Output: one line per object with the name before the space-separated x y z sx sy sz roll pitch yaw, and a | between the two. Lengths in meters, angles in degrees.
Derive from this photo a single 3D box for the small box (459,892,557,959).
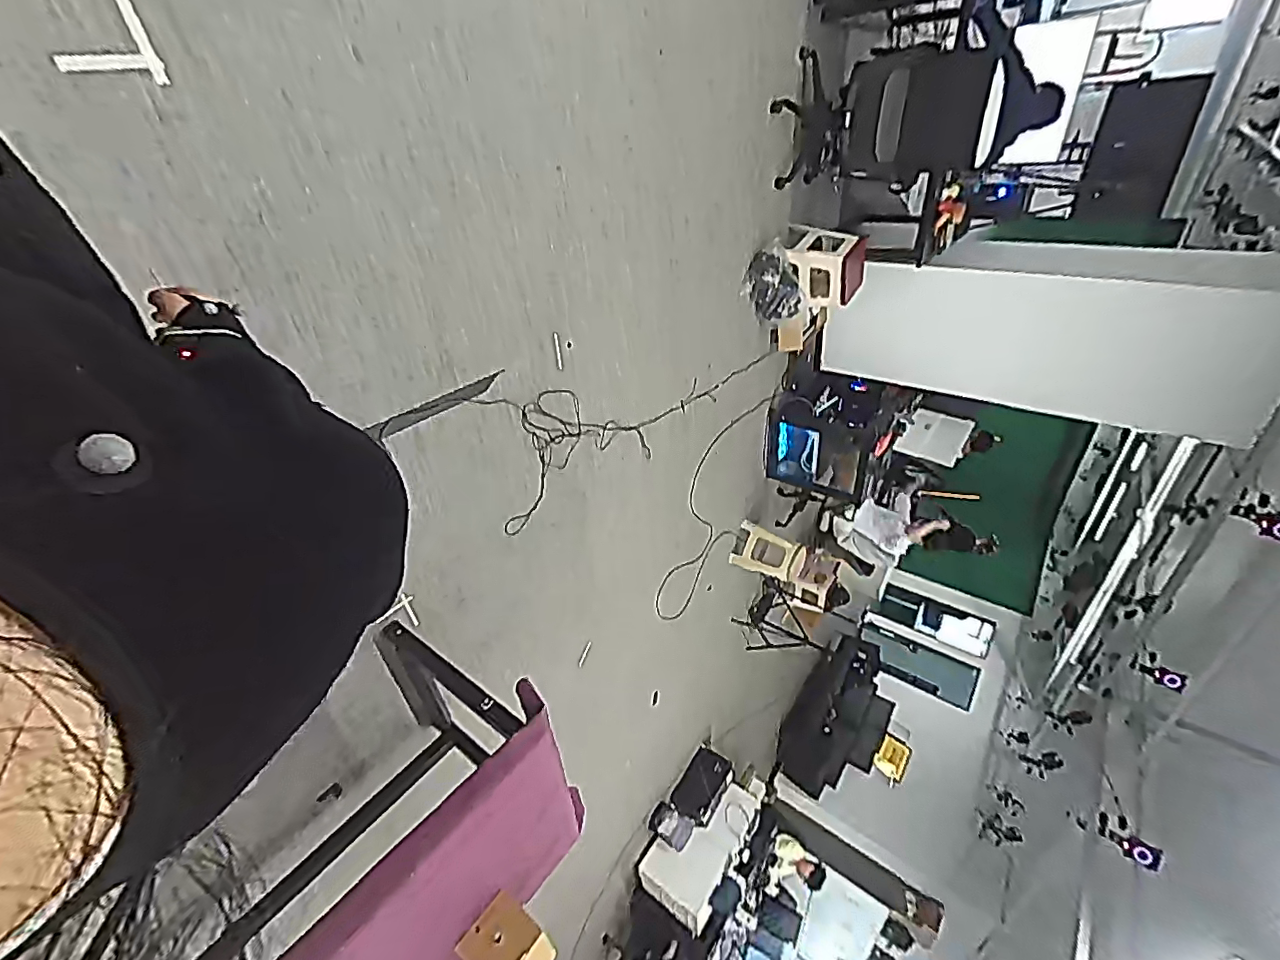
small box | -0.350 1.248 1.433 0.168 0.176 0.179 -38 133 -38
